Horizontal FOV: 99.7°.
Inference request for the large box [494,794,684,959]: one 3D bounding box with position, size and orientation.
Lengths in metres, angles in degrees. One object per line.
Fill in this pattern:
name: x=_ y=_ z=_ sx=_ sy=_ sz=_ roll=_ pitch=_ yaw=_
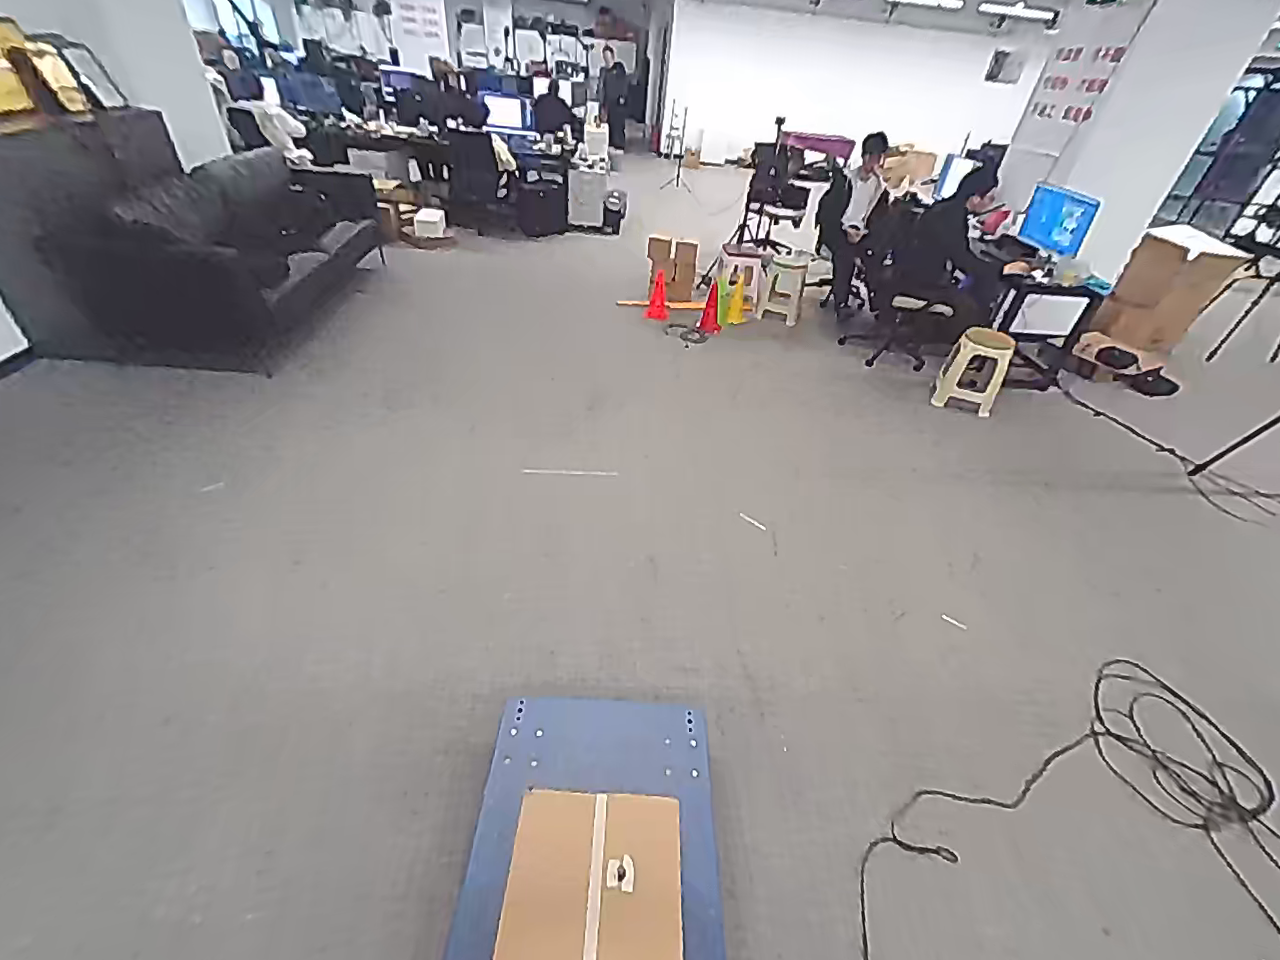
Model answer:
large box: x=-0.091 y=0.874 z=1.011 sx=0.320 sy=0.320 sz=0.408 roll=5 pitch=36 yaw=-2
